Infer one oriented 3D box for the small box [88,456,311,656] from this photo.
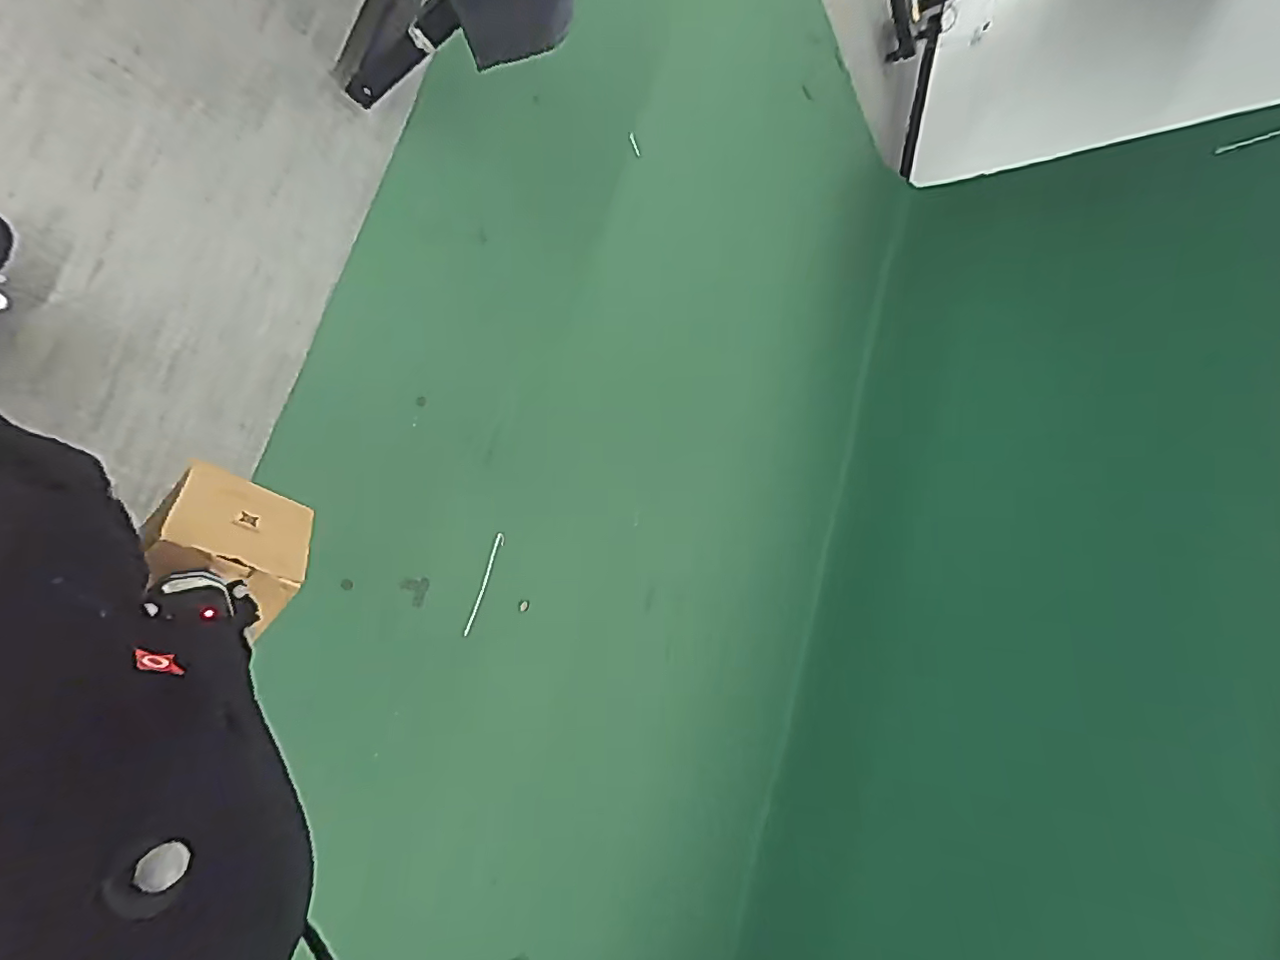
[{"bbox_3d":[-0.582,0.106,0.732,0.176,0.179,0.168,-45,131,7],"label":"small box"}]
